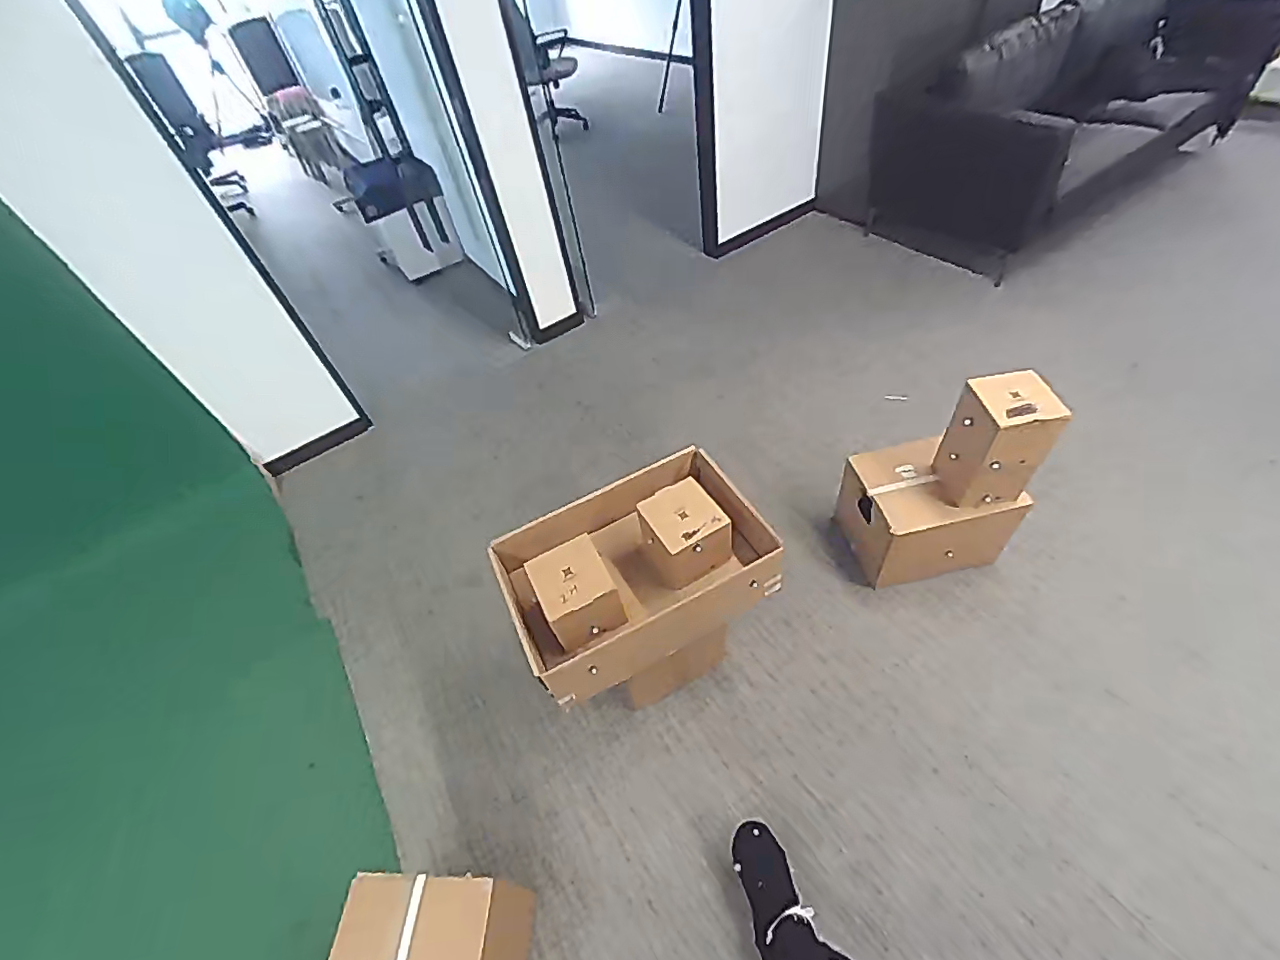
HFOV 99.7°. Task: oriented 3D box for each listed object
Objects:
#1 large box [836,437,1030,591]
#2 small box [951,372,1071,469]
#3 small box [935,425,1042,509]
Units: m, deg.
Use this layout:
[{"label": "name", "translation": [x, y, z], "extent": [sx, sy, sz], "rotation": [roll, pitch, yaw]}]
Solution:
[{"label": "large box", "translation": [0.886, 0.104, 1.701], "extent": [0.408, 0.320, 0.320], "rotation": [-14, 48, -1]}, {"label": "small box", "translation": [0.922, -0.143, 1.364], "extent": [0.168, 0.176, 0.179], "rotation": [-8, 49, 4]}, {"label": "small box", "translation": [0.947, -0.044, 1.493], "extent": [0.168, 0.176, 0.179], "rotation": [-8, 50, 4]}]
